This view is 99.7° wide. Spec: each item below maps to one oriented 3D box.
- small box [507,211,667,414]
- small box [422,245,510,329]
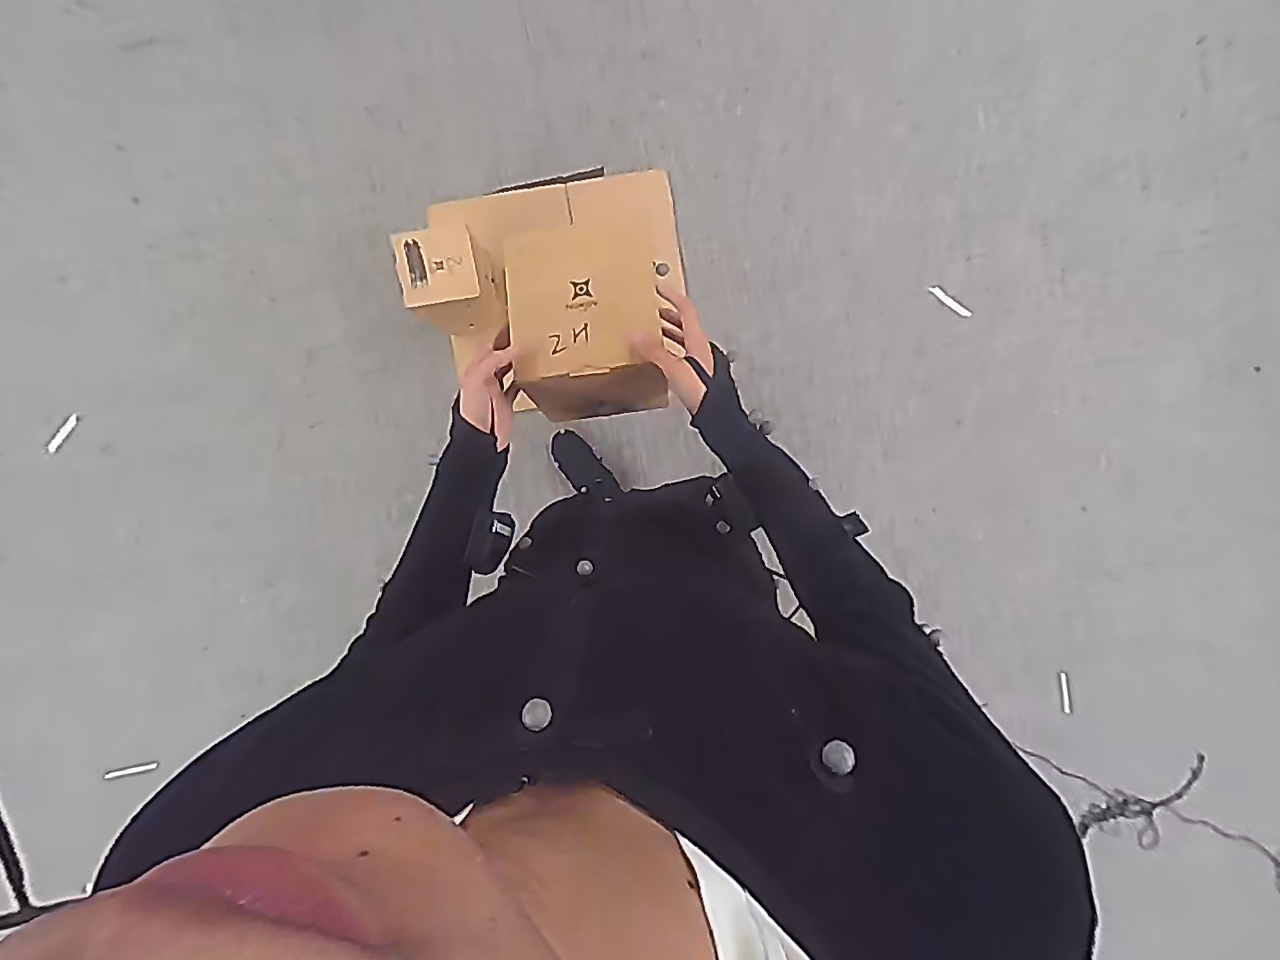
[{"bbox_3d":[-0.057,-0.195,0.669,0.168,0.176,0.179,-6,81,4],"label":"small box"},{"bbox_3d":[-0.460,-0.515,1.463,0.179,0.176,0.168,-10,96,-1],"label":"small box"}]
